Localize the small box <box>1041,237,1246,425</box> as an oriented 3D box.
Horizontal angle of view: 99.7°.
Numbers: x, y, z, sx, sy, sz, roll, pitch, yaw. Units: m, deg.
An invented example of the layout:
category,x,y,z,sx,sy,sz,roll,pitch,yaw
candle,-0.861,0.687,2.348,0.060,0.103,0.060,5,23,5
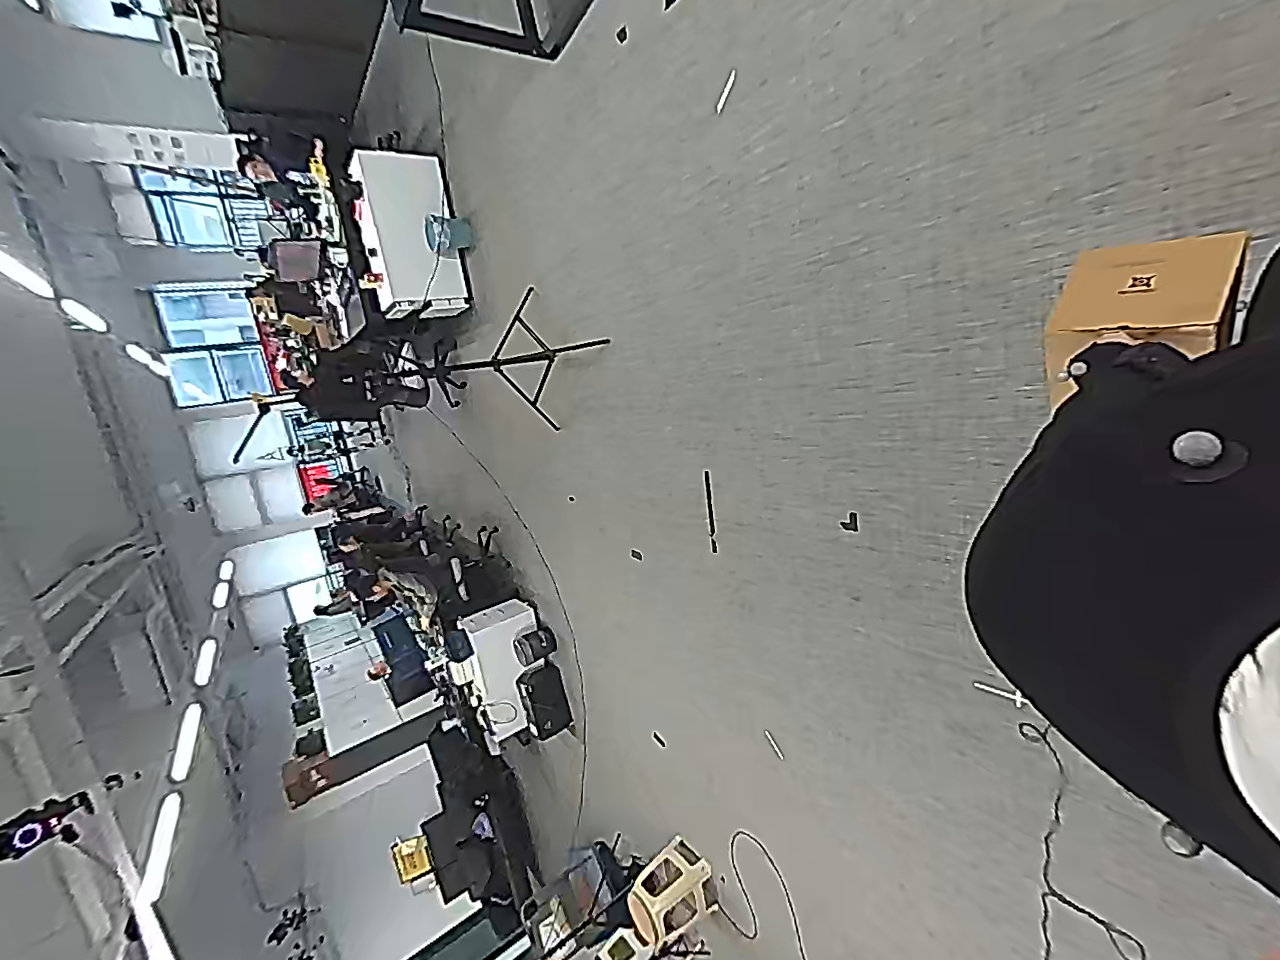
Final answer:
category,x,y,z,sx,sy,sz,roll,pitch,yaw
small box,0.682,-0.195,0.740,0.168,0.179,0.176,15,151,48
